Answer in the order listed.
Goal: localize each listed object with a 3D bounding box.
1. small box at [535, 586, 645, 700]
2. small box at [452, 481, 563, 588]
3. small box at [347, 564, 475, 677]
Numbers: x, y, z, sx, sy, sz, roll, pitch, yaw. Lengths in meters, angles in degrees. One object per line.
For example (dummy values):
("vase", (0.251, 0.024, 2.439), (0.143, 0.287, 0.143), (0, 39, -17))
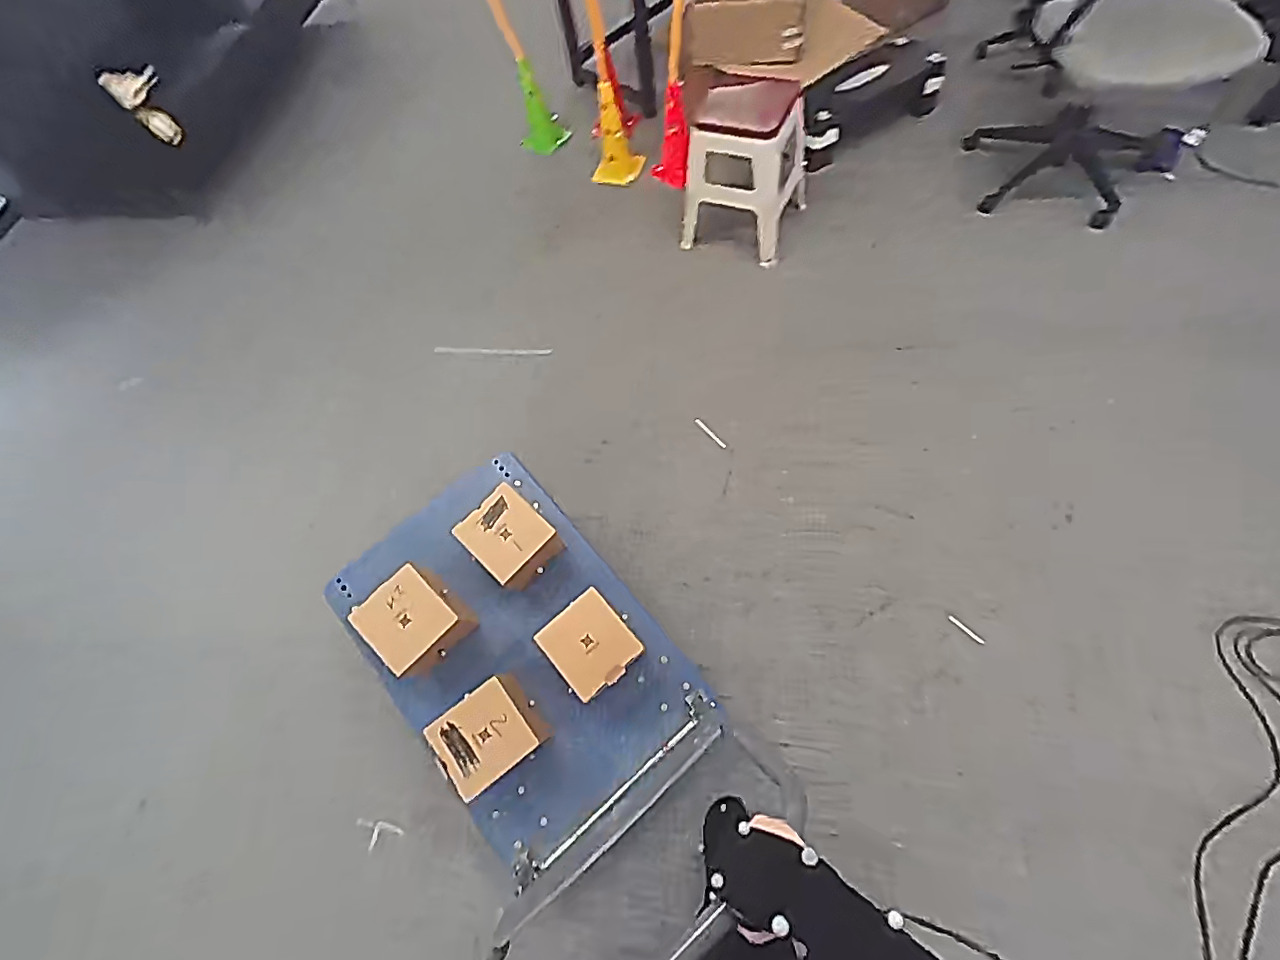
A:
("small box", (-0.108, 0.364, 1.205), (0.168, 0.176, 0.179), (-40, 77, -13))
("small box", (-0.303, 0.137, 1.275), (0.179, 0.176, 0.168), (42, 77, 11))
("small box", (-0.501, 0.315, 1.213), (0.179, 0.176, 0.168), (43, 75, 12))
